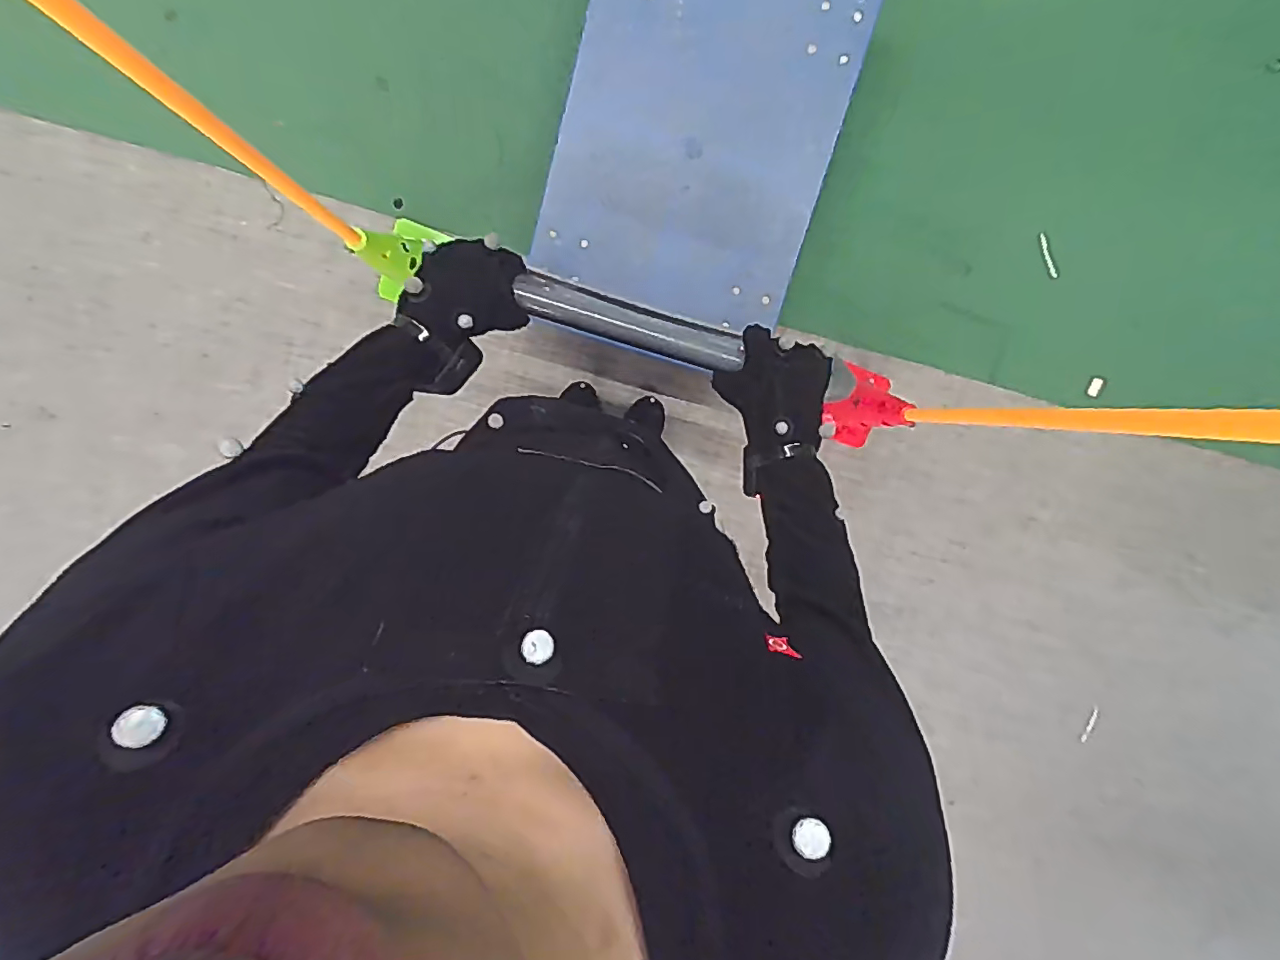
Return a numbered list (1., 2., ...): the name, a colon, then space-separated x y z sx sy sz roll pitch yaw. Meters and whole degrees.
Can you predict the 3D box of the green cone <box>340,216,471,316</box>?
1. green cone: -0.542 -0.504 1.193 0.202 0.368 0.200 19 100 -4
